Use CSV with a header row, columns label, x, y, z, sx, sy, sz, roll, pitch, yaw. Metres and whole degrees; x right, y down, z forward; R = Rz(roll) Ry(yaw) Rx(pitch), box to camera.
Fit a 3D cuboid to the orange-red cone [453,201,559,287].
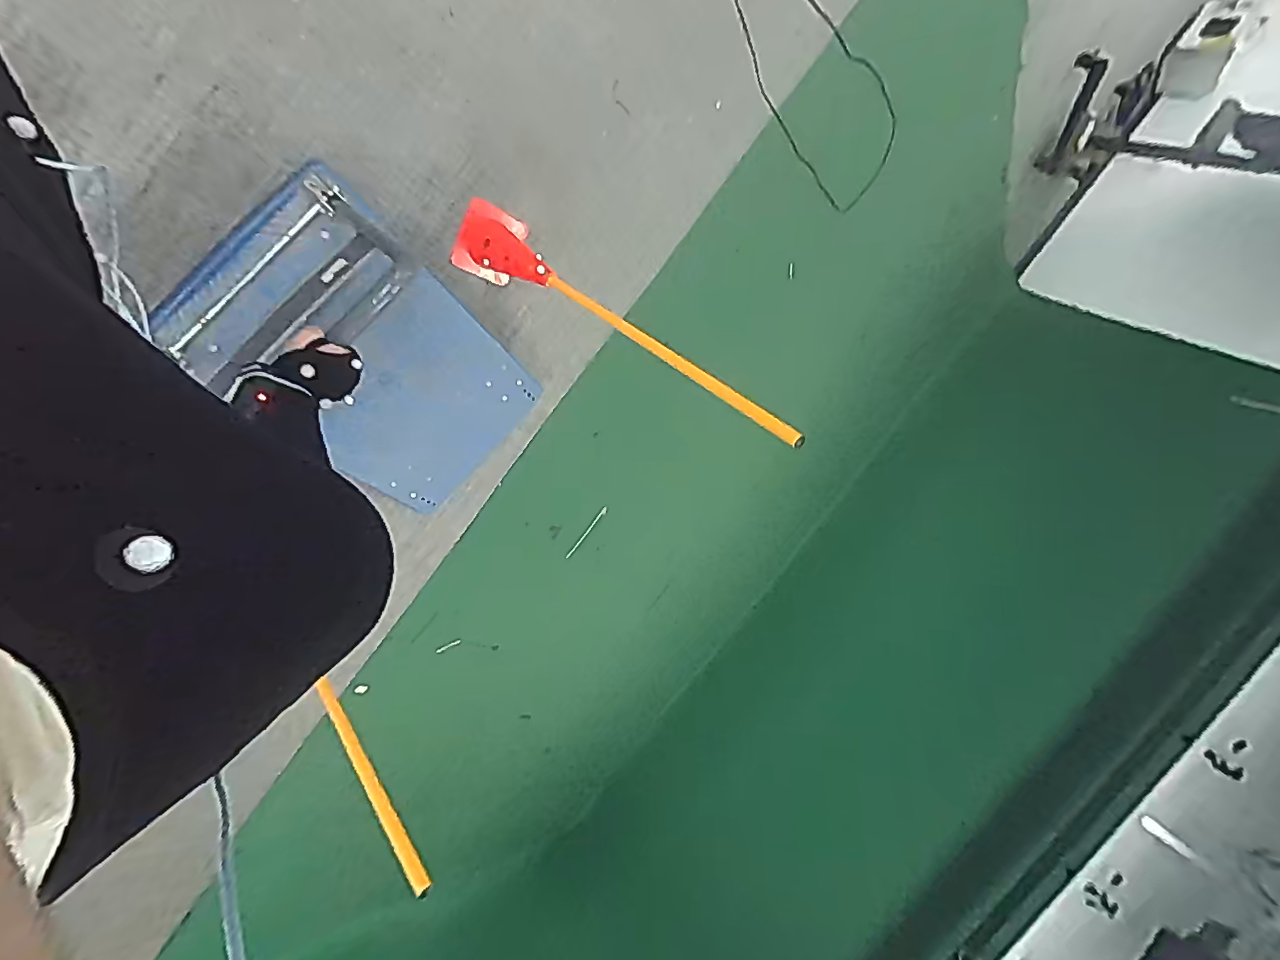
label,x,y,z,sx,sy,sz,roll,pitch,yaw
orange-red cone,-0.339,-0.615,1.518,0.198,0.360,0.199,10,113,-51
